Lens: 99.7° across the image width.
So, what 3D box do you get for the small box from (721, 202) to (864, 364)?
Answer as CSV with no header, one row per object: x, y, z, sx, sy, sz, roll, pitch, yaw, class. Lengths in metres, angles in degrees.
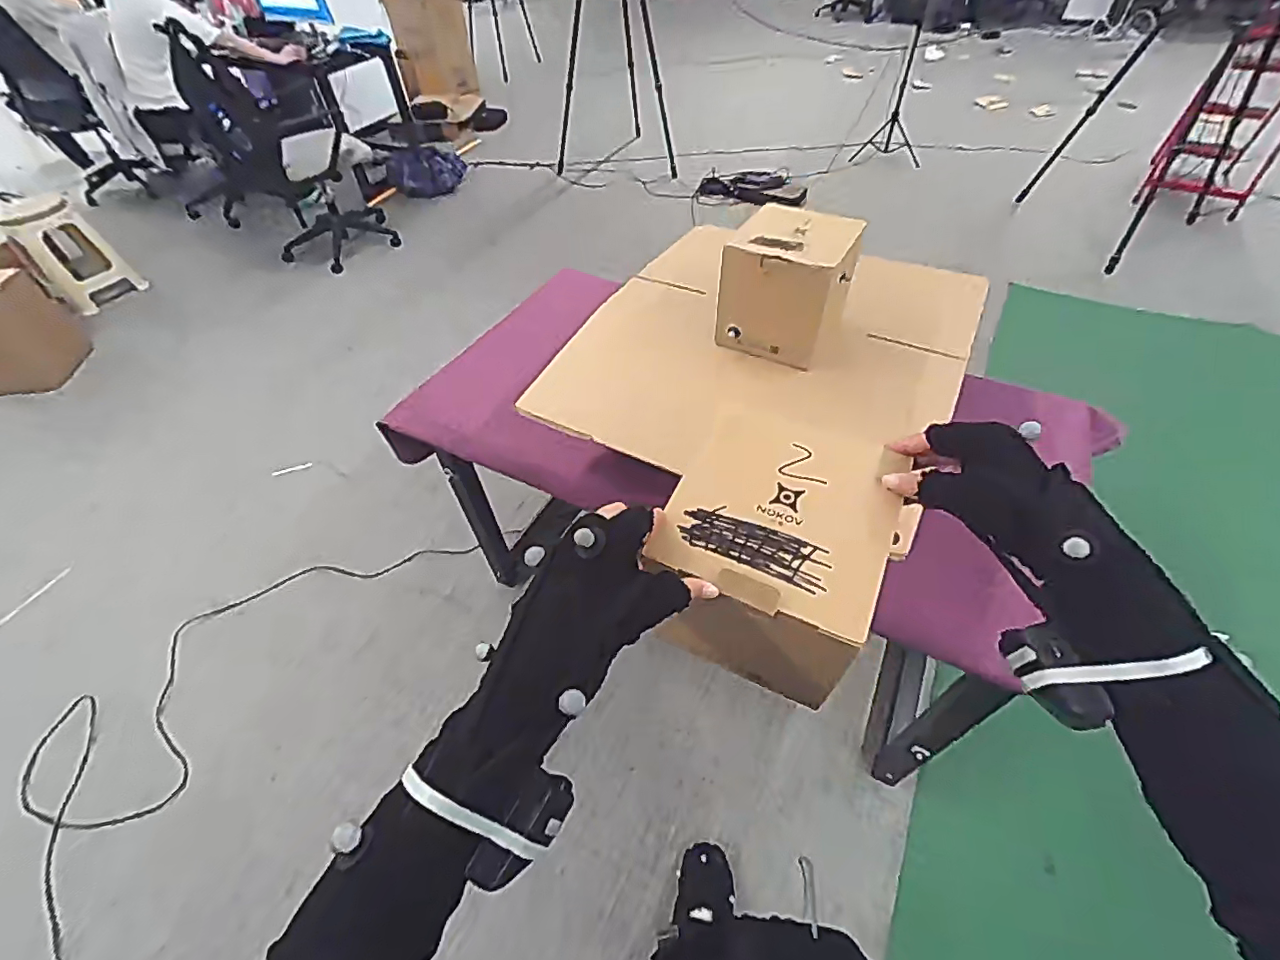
0.235,-0.312,0.861,0.168,0.176,0.179,20,53,19,small box
